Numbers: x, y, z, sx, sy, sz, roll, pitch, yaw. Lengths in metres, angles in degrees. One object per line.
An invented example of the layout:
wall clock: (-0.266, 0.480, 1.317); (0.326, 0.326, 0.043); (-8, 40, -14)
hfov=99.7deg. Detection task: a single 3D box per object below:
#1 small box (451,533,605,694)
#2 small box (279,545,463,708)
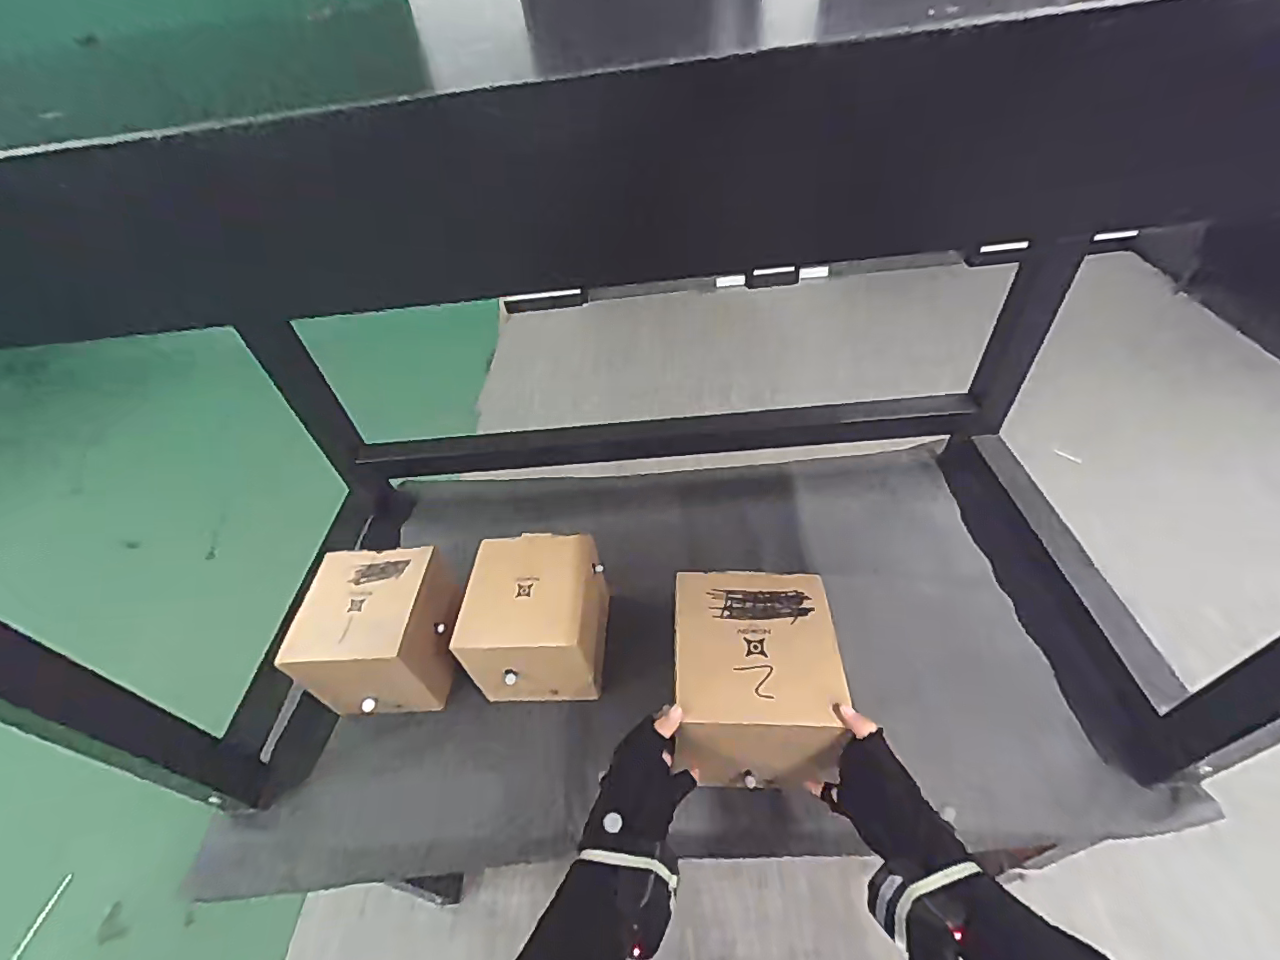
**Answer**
small box: (-0.147, 0.198, 0.789); (0.168, 0.176, 0.179); (-3, 45, 5)
small box: (-0.374, 0.217, 0.800); (0.168, 0.176, 0.179); (-4, 45, 5)
